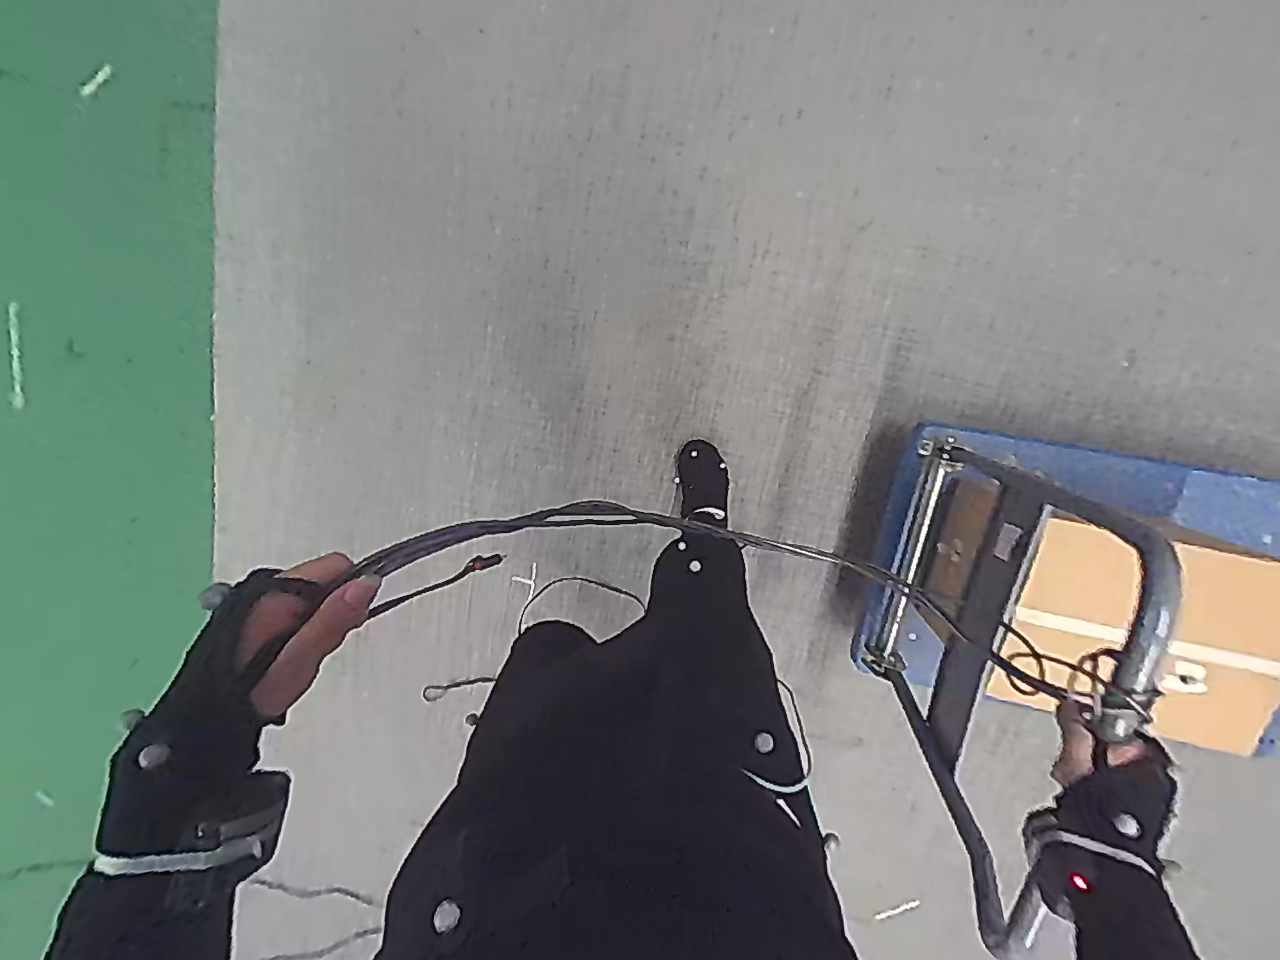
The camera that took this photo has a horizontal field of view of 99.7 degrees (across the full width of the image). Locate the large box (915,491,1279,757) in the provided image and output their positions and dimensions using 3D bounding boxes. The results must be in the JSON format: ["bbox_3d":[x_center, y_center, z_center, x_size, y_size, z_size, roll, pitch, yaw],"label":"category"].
[{"bbox_3d":[0.794,0.229,0.987,0.408,0.320,0.320,12,103,5],"label":"large box"}]
